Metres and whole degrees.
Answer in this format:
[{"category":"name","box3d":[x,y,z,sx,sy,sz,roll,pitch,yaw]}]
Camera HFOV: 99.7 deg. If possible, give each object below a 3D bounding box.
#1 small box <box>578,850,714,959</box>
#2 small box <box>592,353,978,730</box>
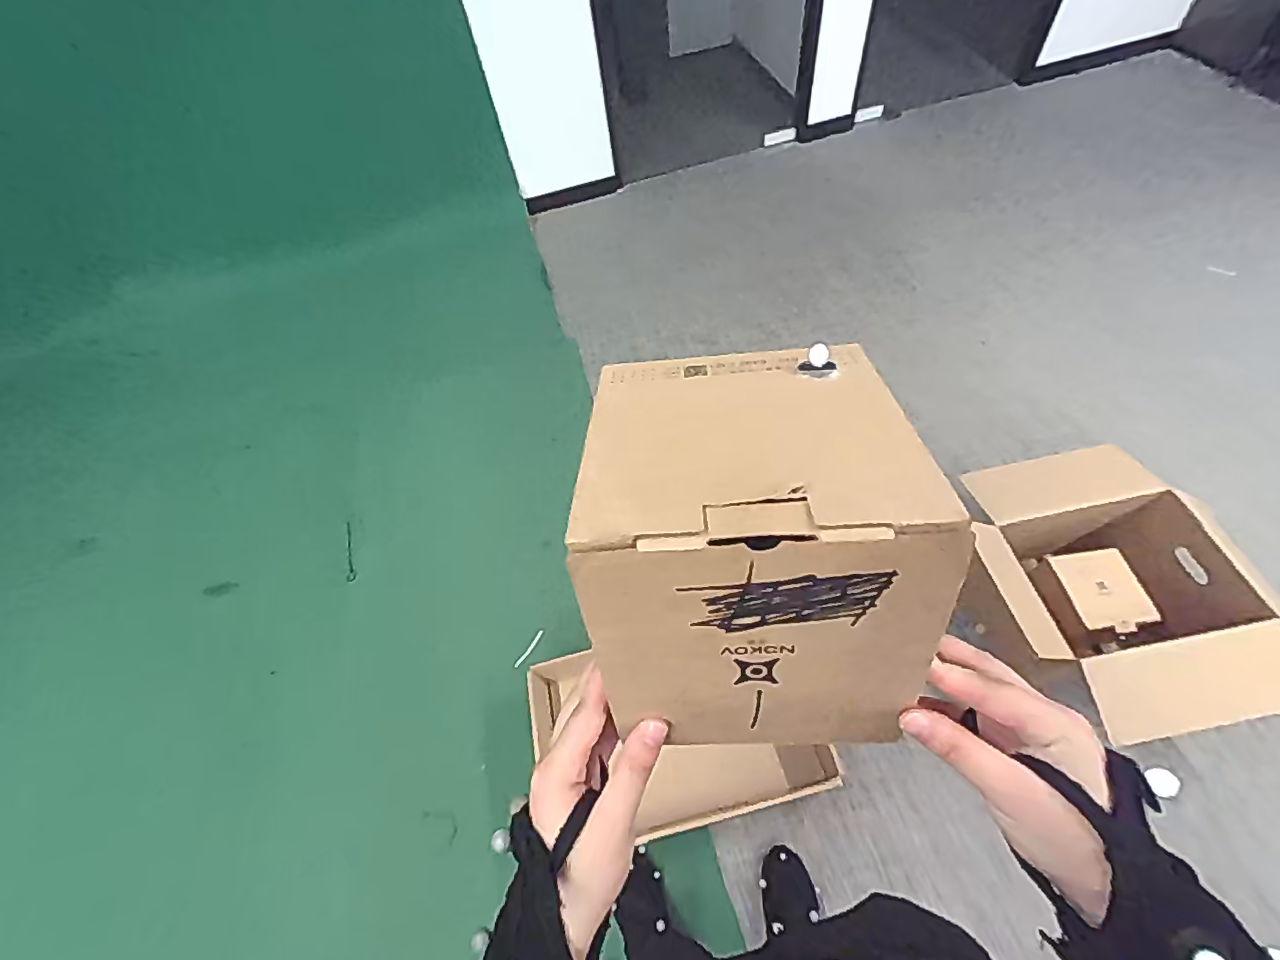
[{"category":"small box","box3d":[0.018,0.867,1.051,0.176,0.168,0.179,43,41,-1]},{"category":"small box","box3d":[0.069,0.031,0.339,0.168,0.179,0.176,-3,38,6]}]
